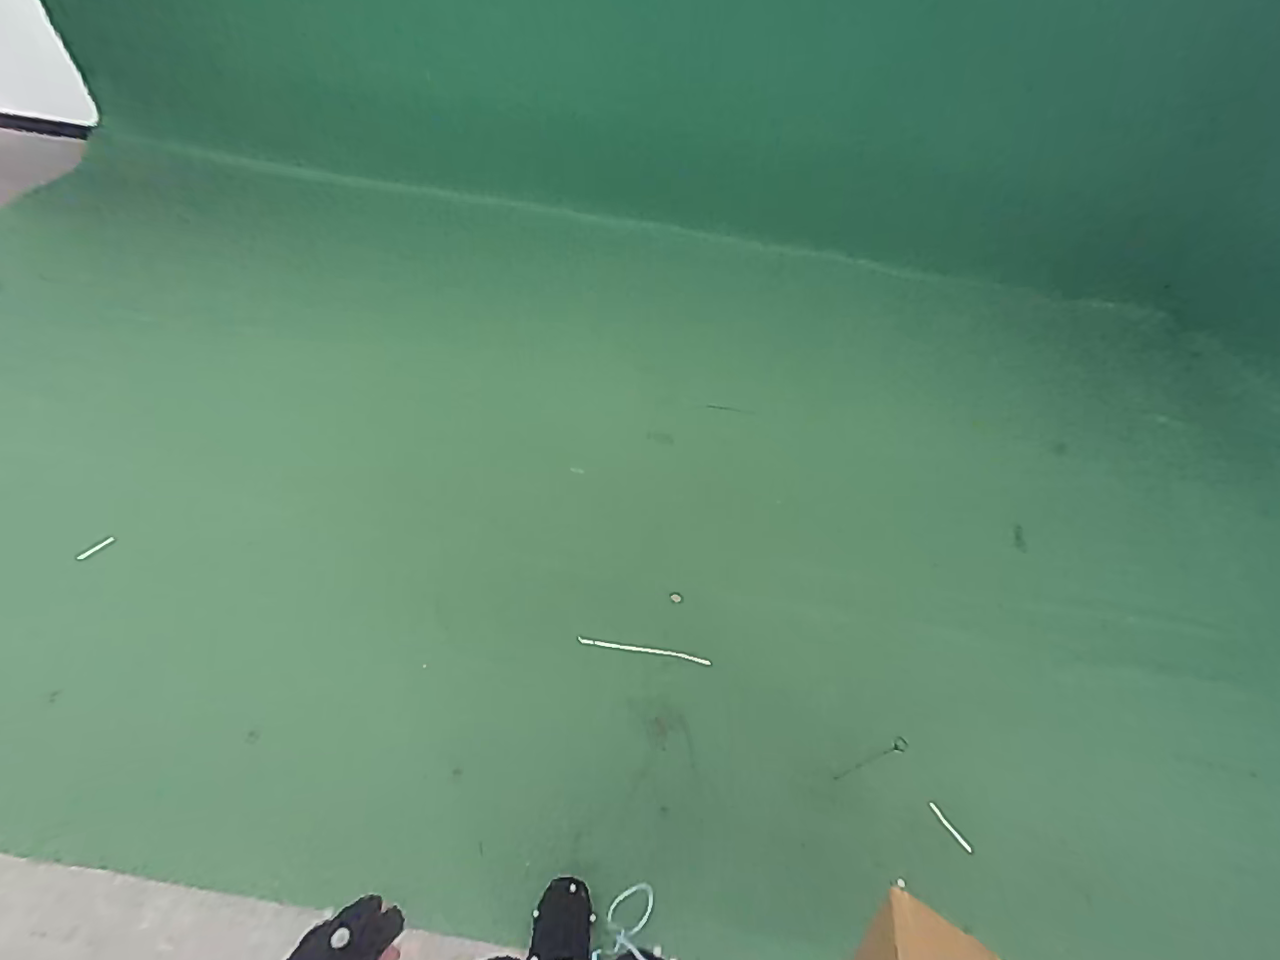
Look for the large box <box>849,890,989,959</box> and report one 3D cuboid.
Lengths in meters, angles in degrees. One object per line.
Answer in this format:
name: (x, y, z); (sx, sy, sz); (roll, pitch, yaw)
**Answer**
large box: (0.362, 0.796, 0.594); (0.320, 0.408, 0.320); (29, 92, 24)
